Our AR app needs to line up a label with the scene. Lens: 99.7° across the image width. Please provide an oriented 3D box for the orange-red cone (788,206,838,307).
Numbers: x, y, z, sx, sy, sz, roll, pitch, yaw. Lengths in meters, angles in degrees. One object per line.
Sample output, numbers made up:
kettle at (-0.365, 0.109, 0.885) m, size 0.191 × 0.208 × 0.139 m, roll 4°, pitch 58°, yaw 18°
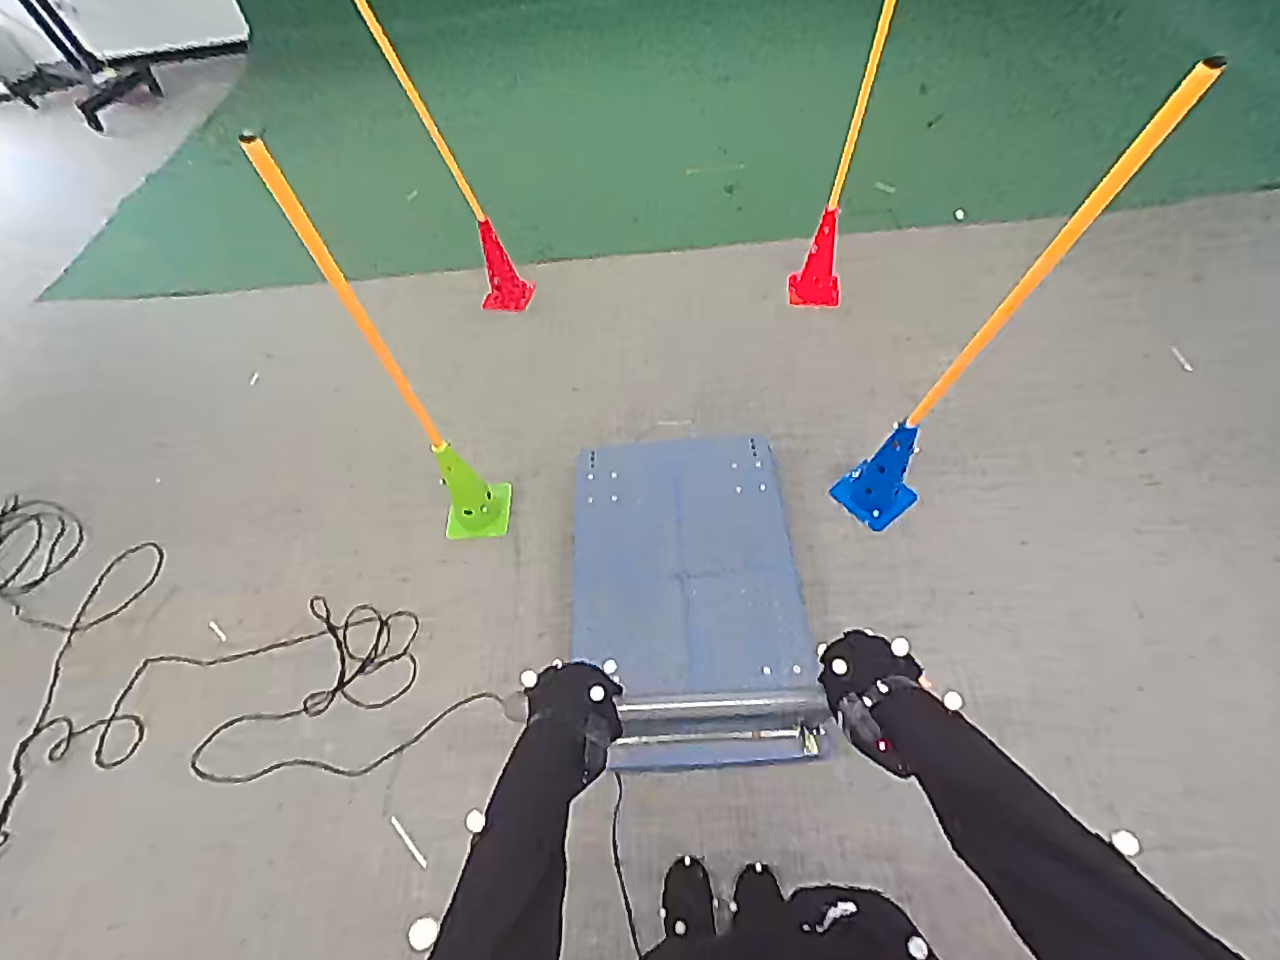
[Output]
orange-red cone at (0.694, -0.870, 2.077) m, size 0.198 × 0.360 × 0.199 m, roll 5°, pitch 58°, yaw 10°
